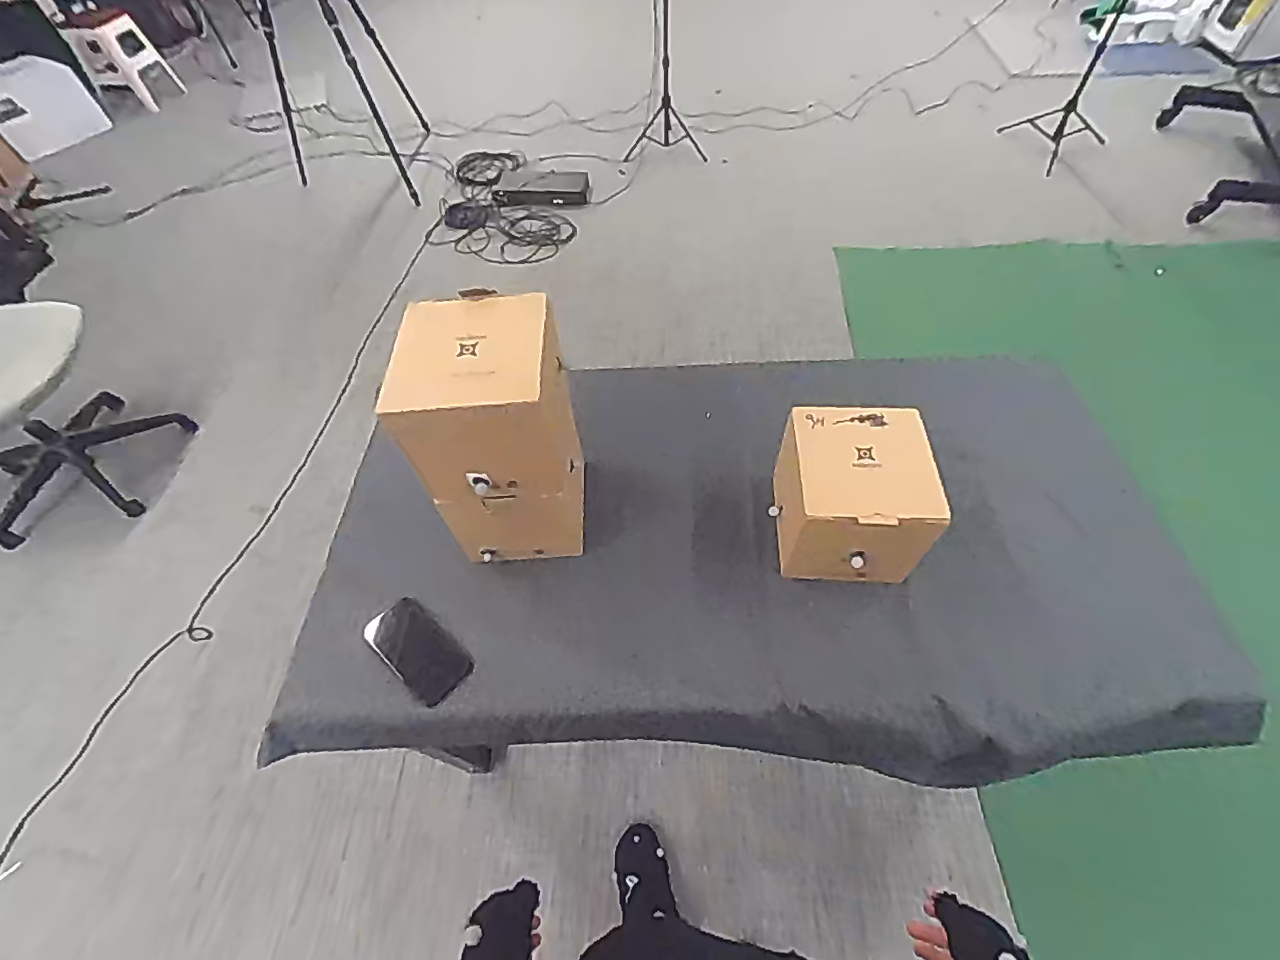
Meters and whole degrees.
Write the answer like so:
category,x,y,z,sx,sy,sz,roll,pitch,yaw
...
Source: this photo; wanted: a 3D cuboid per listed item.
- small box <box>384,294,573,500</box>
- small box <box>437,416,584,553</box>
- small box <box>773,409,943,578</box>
category,x,y,z,sx,sy,sz,roll,pitch,yaw
small box,-0.176,-0.096,0.650,0.168,0.176,0.179,-5,56,1
small box,-0.172,-0.003,0.783,0.168,0.176,0.179,-4,54,0
small box,0.281,0.023,0.742,0.168,0.176,0.179,2,56,5
